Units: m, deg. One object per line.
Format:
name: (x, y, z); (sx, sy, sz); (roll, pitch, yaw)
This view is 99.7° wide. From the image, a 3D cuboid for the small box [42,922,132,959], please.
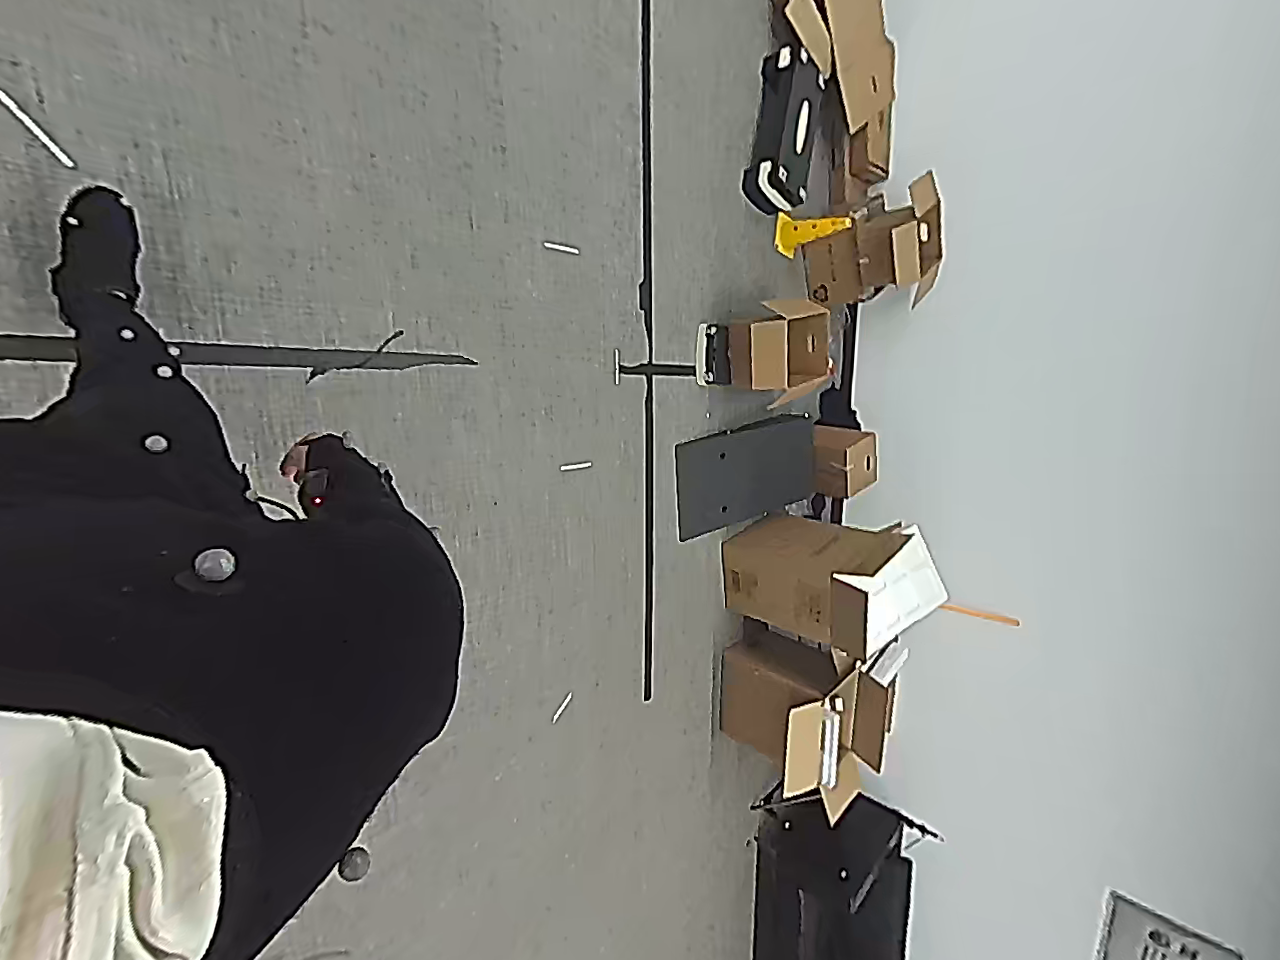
small box: (-1.216, 1.121, 1.155); (0.179, 0.176, 0.168); (-19, 111, -42)
